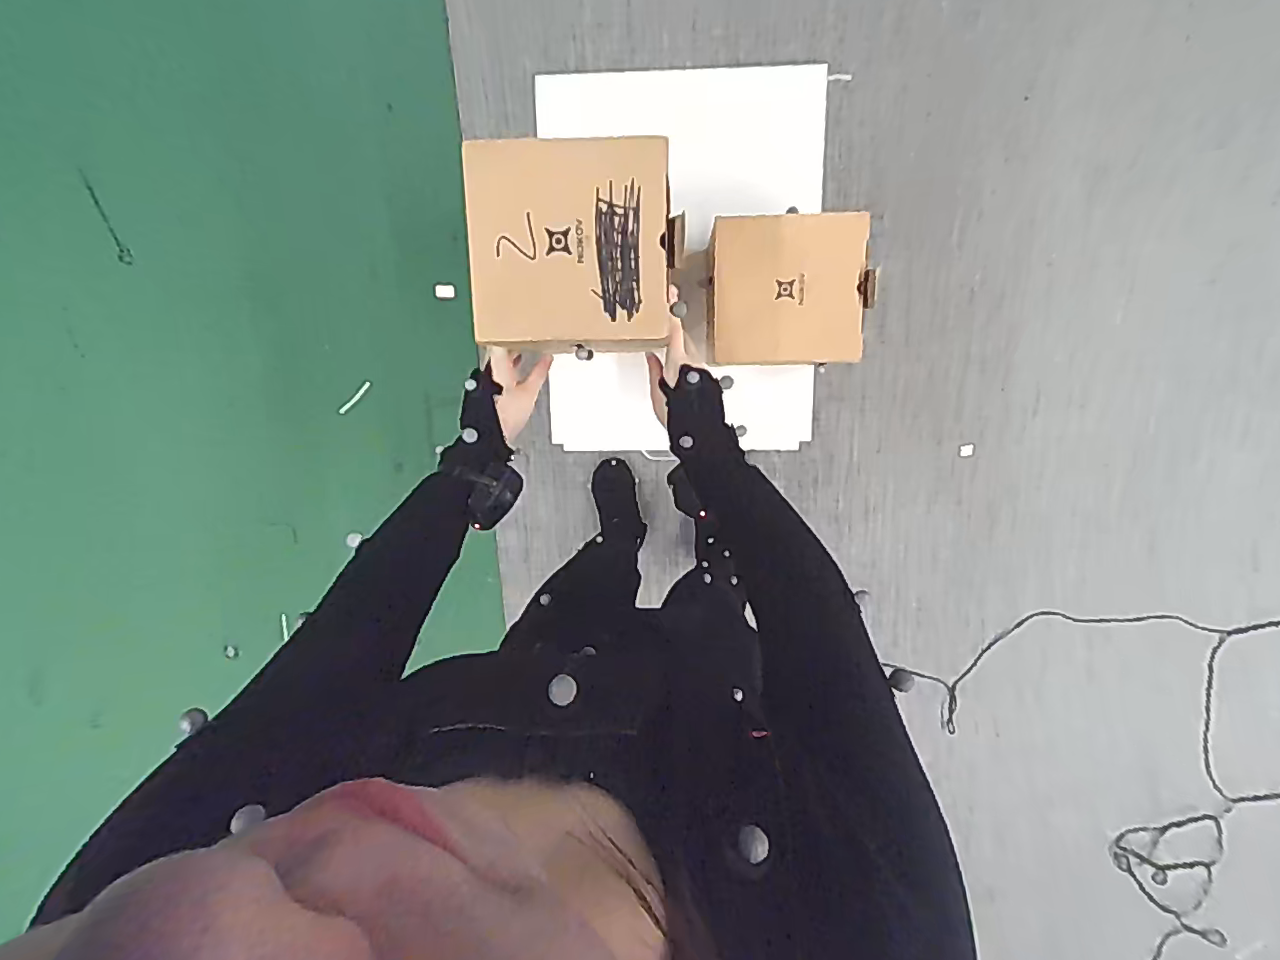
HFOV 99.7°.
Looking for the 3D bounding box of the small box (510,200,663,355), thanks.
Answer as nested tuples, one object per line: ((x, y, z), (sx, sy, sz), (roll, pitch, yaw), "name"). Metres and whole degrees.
((-0.058, -0.251, 0.706), (0.179, 0.176, 0.168), (-1, 102, 2), "small box")
